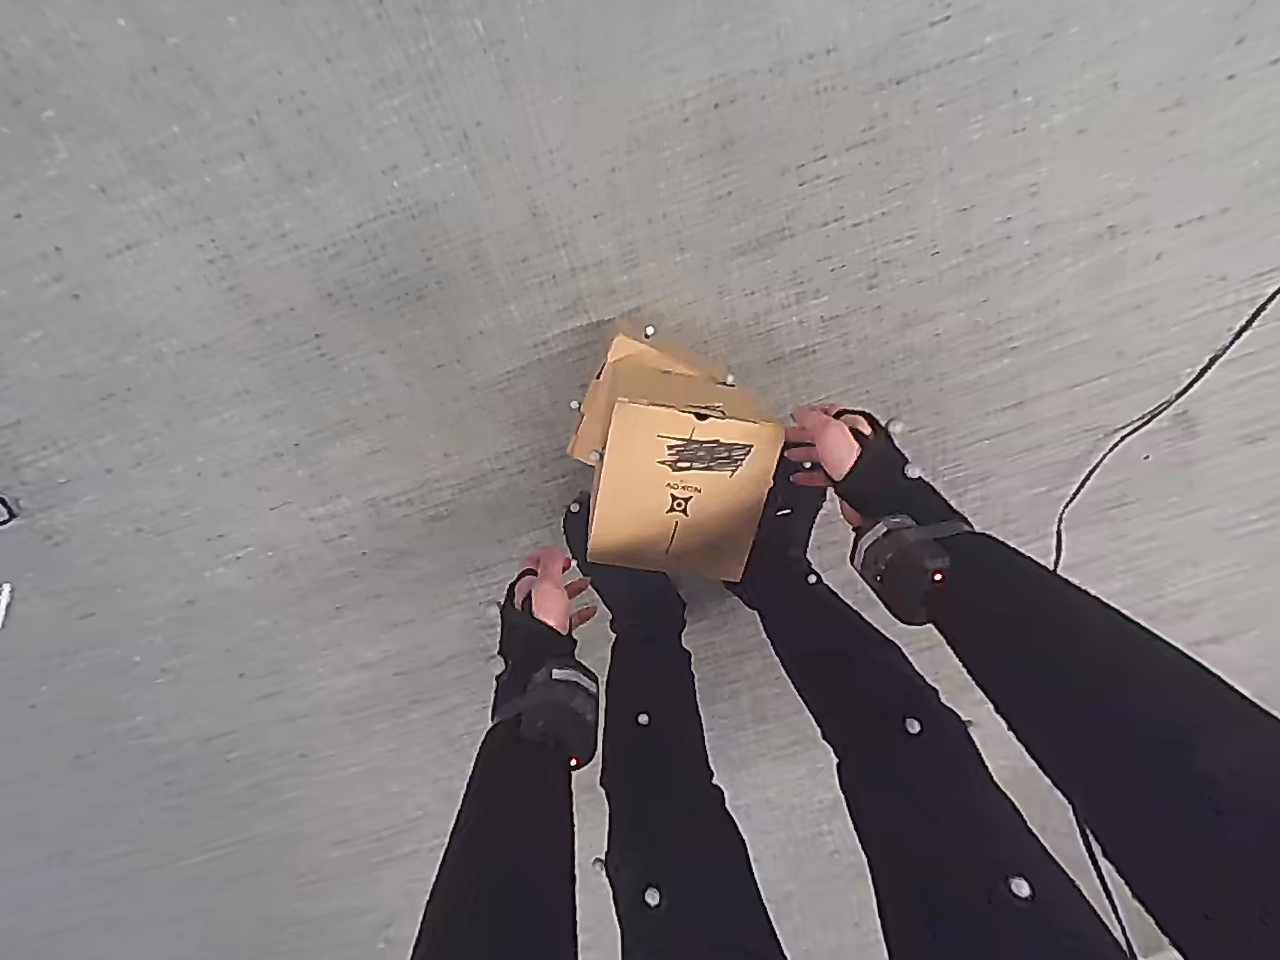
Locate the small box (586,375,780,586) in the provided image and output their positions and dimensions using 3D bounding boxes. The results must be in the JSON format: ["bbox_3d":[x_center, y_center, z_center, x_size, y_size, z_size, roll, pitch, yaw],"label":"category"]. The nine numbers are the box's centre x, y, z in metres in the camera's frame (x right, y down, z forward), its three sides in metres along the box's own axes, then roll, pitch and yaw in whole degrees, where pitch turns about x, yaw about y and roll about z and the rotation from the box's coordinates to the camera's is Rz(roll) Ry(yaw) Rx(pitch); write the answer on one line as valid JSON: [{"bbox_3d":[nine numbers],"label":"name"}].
[{"bbox_3d":[0.035,-0.008,0.607,0.168,0.176,0.179,9,113,-6],"label":"small box"}]

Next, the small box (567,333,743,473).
[{"bbox_3d":[0.012,-0.093,0.748,0.179,0.176,0.168,20,110,-12],"label":"small box"}]
